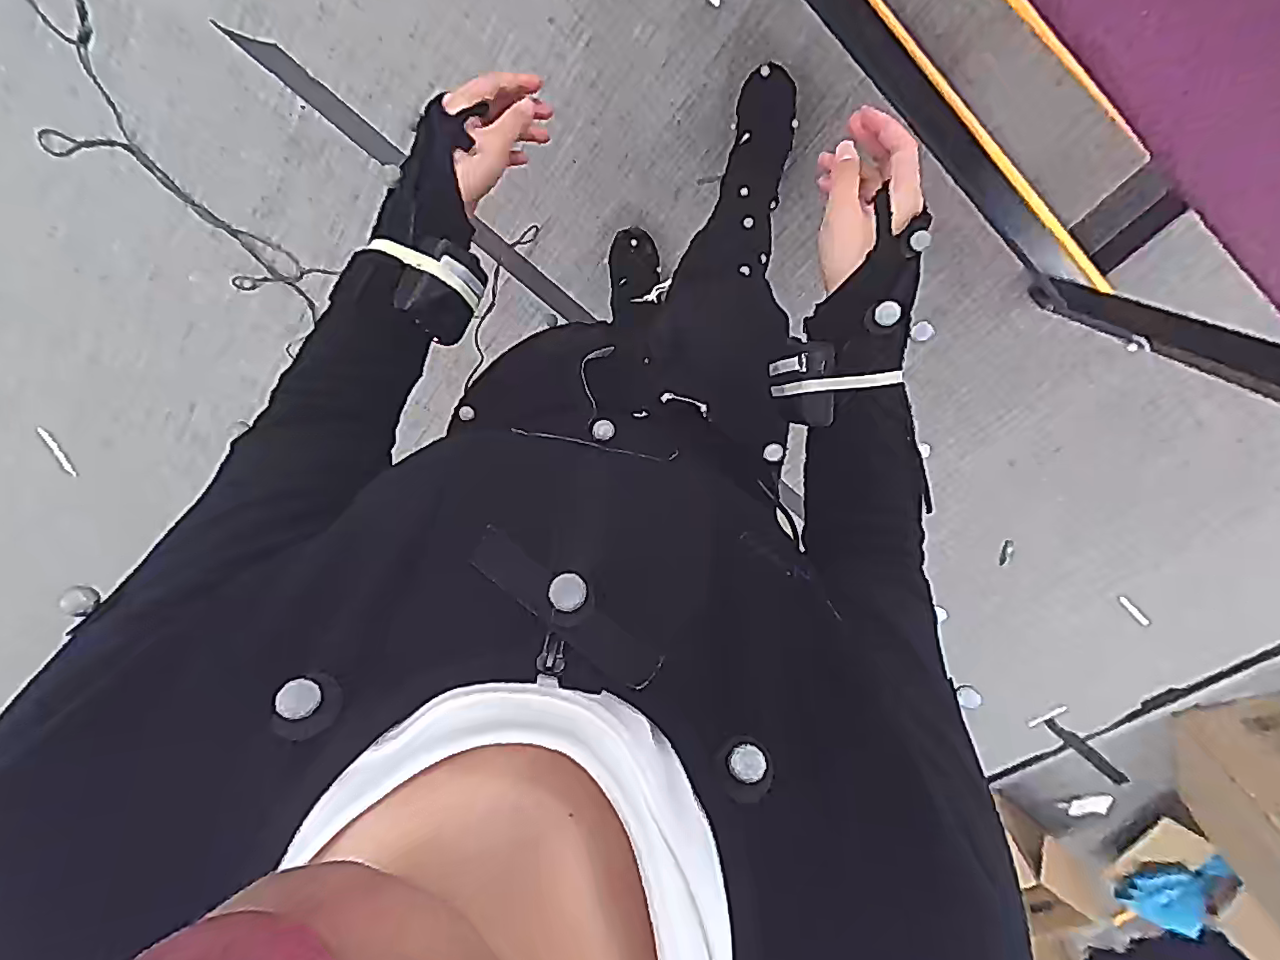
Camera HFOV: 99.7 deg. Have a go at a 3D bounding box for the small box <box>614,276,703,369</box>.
[{"bbox_3d":[0.034,-0.339,1.149,0.179,0.176,0.168,2,117,0],"label":"small box"}]
